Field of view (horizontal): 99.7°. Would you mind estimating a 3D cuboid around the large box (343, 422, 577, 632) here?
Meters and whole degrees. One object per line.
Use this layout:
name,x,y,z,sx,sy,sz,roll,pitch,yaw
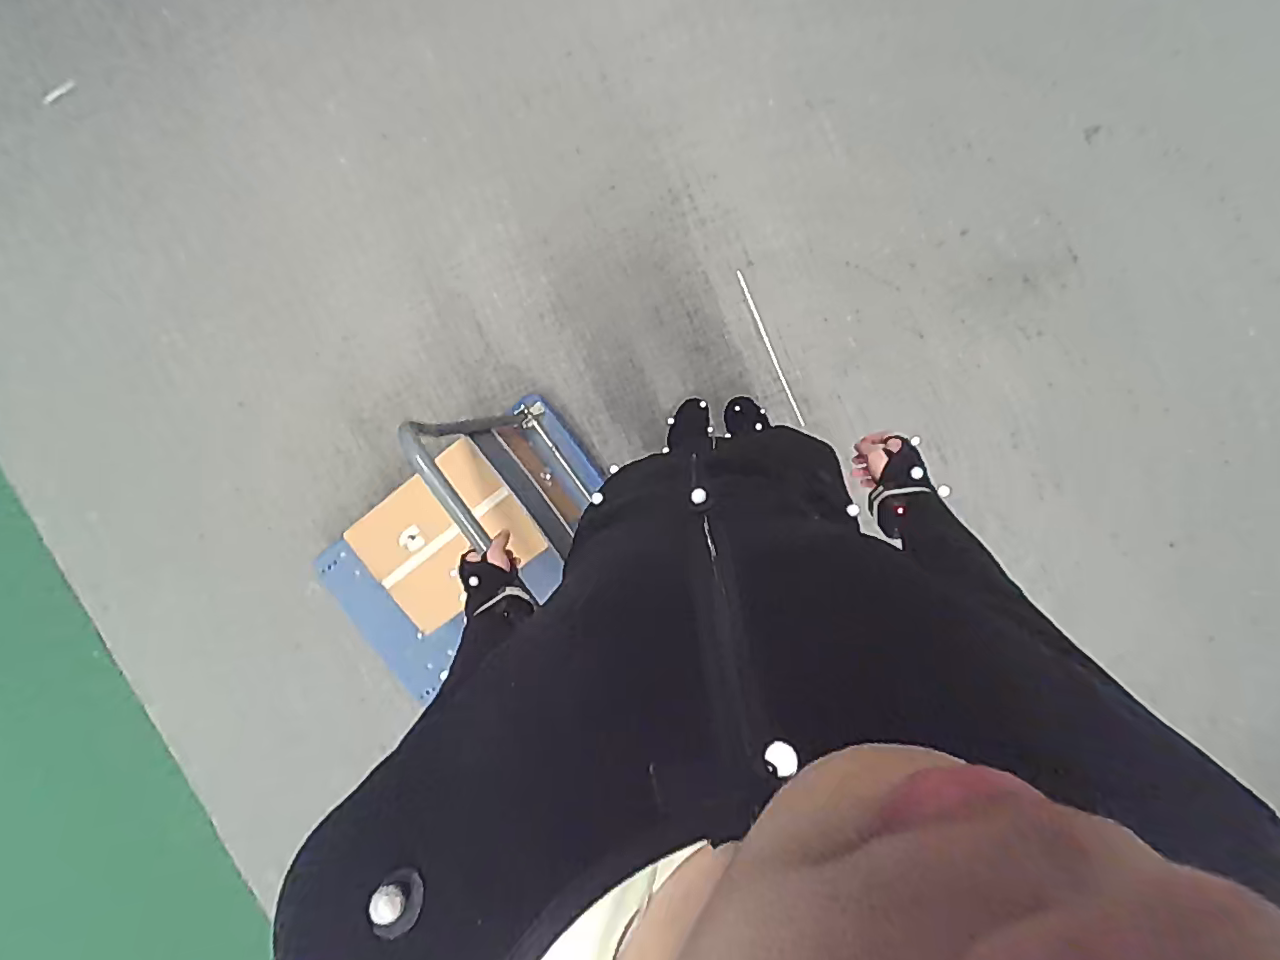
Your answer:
large box,-0.429,0.098,1.371,0.408,0.320,0.320,-36,94,10
